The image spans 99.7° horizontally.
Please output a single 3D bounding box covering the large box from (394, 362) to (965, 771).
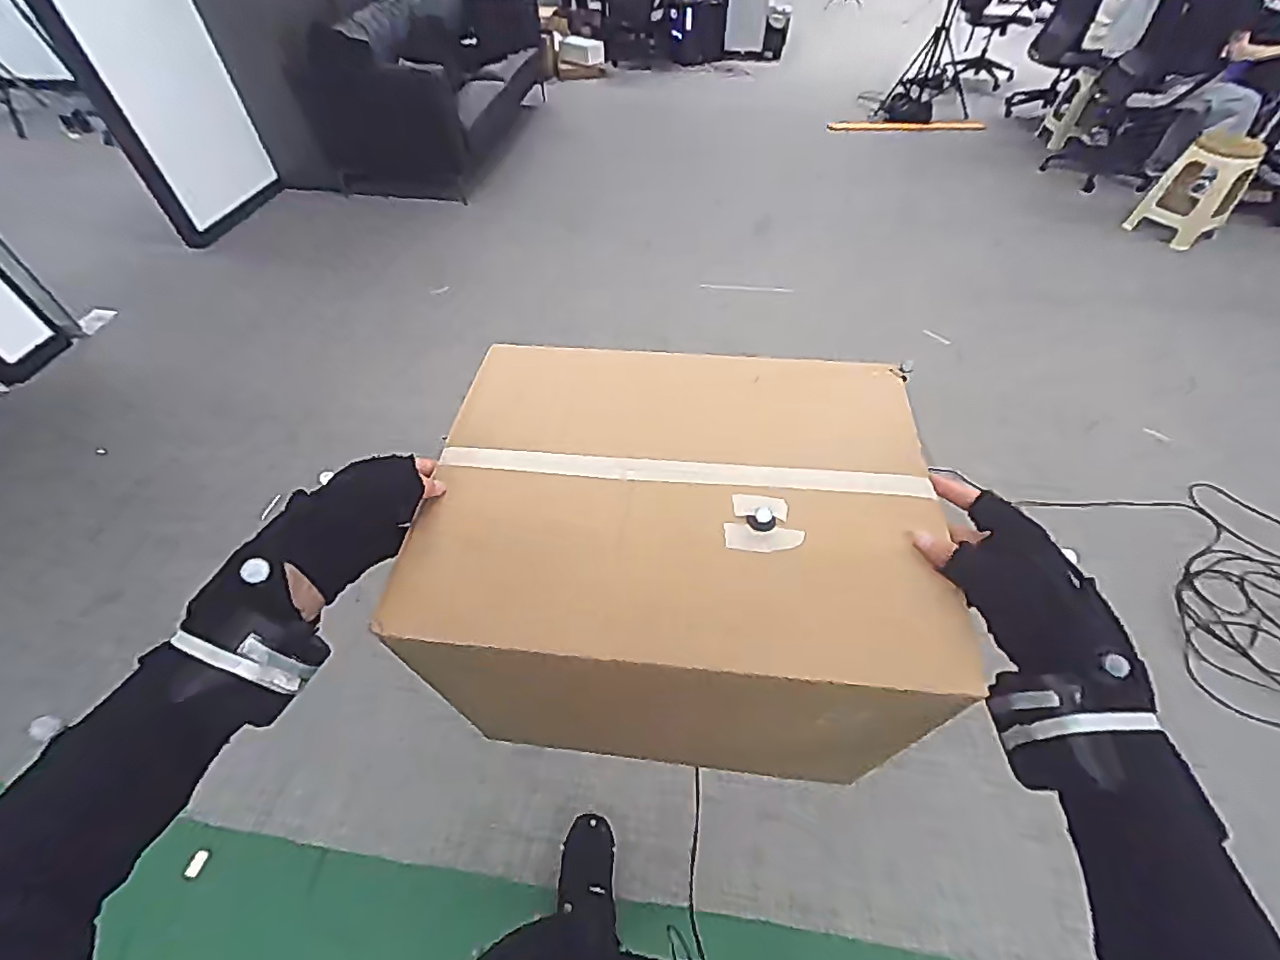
[{"bbox_3d":[0.036,0.095,0.578,0.408,0.320,0.320,4,53,5],"label":"large box"}]
